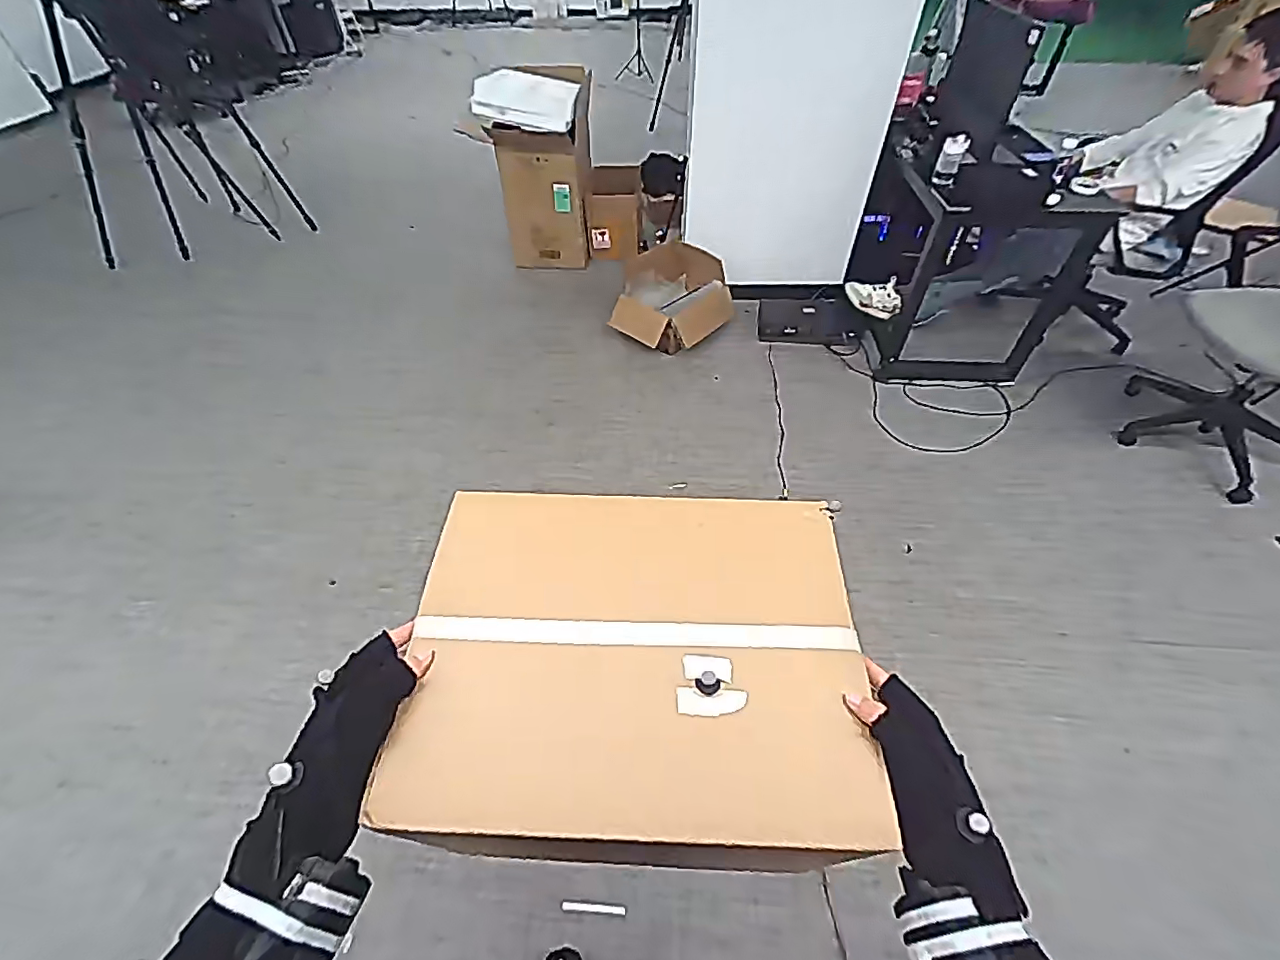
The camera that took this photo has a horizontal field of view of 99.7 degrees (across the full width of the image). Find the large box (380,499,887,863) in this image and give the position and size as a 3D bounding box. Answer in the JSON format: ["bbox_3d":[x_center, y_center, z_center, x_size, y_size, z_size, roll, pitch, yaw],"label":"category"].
[{"bbox_3d":[-0.004,0.238,0.624,0.408,0.320,0.320,2,52,1],"label":"large box"}]
